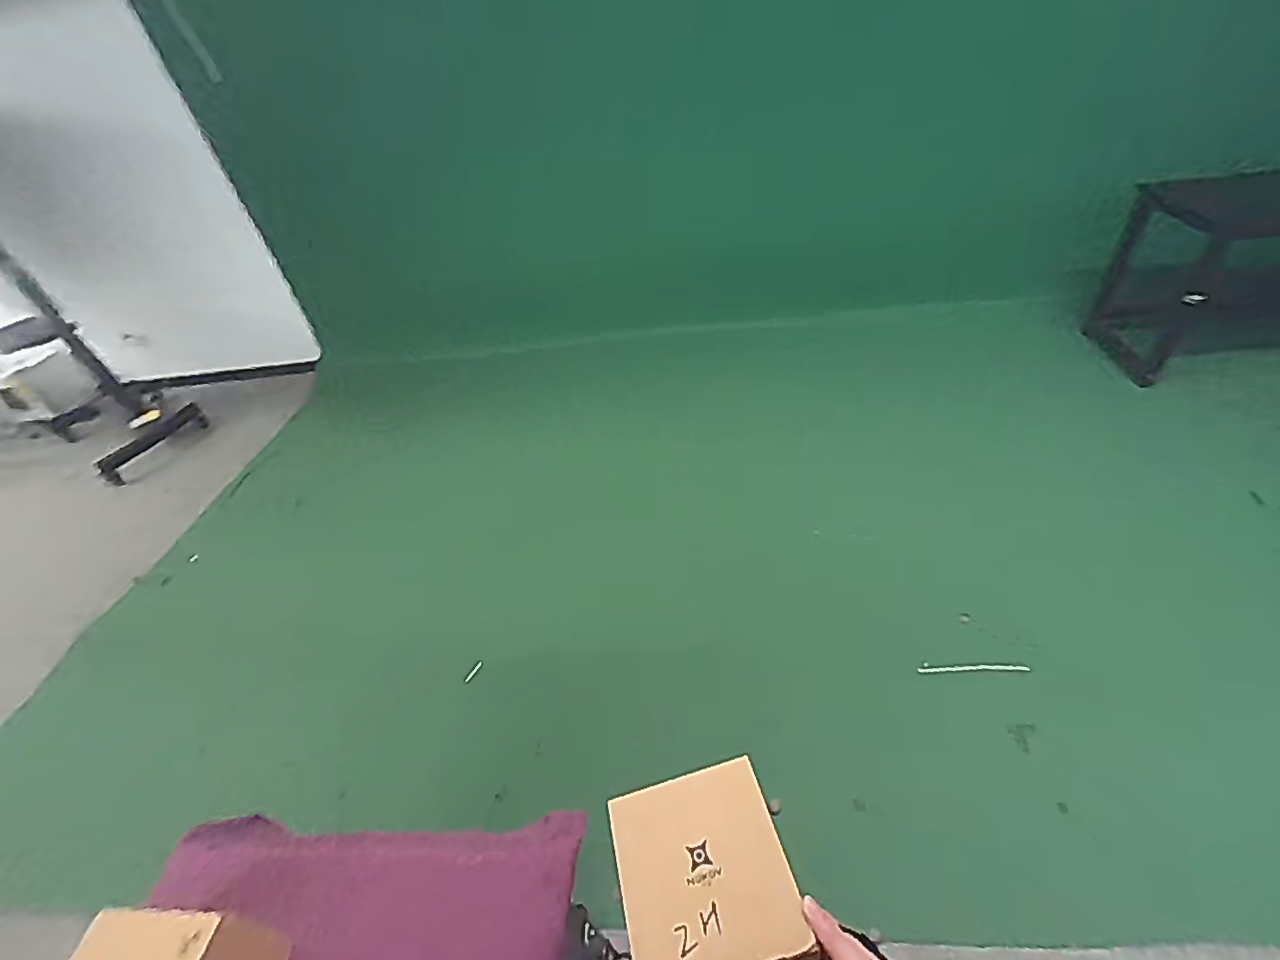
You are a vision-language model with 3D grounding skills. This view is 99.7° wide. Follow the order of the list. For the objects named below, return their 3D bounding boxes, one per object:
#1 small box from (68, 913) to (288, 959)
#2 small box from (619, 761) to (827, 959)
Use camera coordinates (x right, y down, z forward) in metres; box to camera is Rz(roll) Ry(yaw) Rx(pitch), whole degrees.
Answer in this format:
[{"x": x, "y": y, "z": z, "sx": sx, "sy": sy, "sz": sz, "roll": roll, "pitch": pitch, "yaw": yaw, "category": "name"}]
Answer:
[{"x": -0.586, "y": 0.649, "z": 0.656, "sx": 0.179, "sy": 0.176, "sz": 0.168, "roll": -3, "pitch": 43, "yaw": 7, "category": "small box"}, {"x": 0.084, "y": 0.445, "z": 0.583, "sx": 0.168, "sy": 0.176, "sz": 0.179, "roll": -16, "pitch": 39, "yaw": -2, "category": "small box"}]
